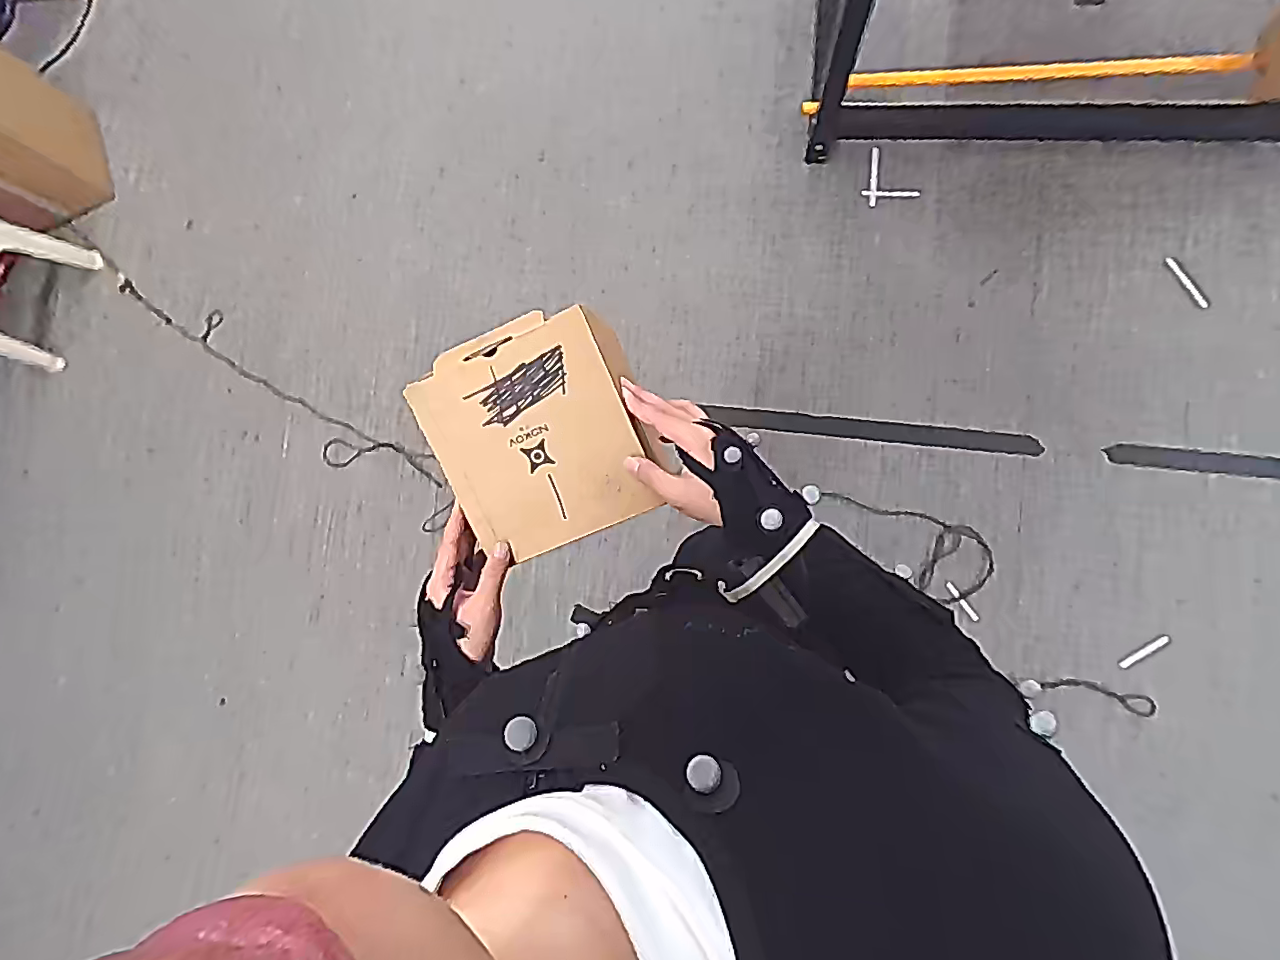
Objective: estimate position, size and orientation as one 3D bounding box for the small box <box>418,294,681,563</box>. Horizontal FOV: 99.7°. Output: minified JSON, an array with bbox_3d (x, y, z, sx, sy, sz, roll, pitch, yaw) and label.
[{"bbox_3d":[-0.068,-0.050,0.513,0.168,0.176,0.179,-22,99,9],"label":"small box"}]
